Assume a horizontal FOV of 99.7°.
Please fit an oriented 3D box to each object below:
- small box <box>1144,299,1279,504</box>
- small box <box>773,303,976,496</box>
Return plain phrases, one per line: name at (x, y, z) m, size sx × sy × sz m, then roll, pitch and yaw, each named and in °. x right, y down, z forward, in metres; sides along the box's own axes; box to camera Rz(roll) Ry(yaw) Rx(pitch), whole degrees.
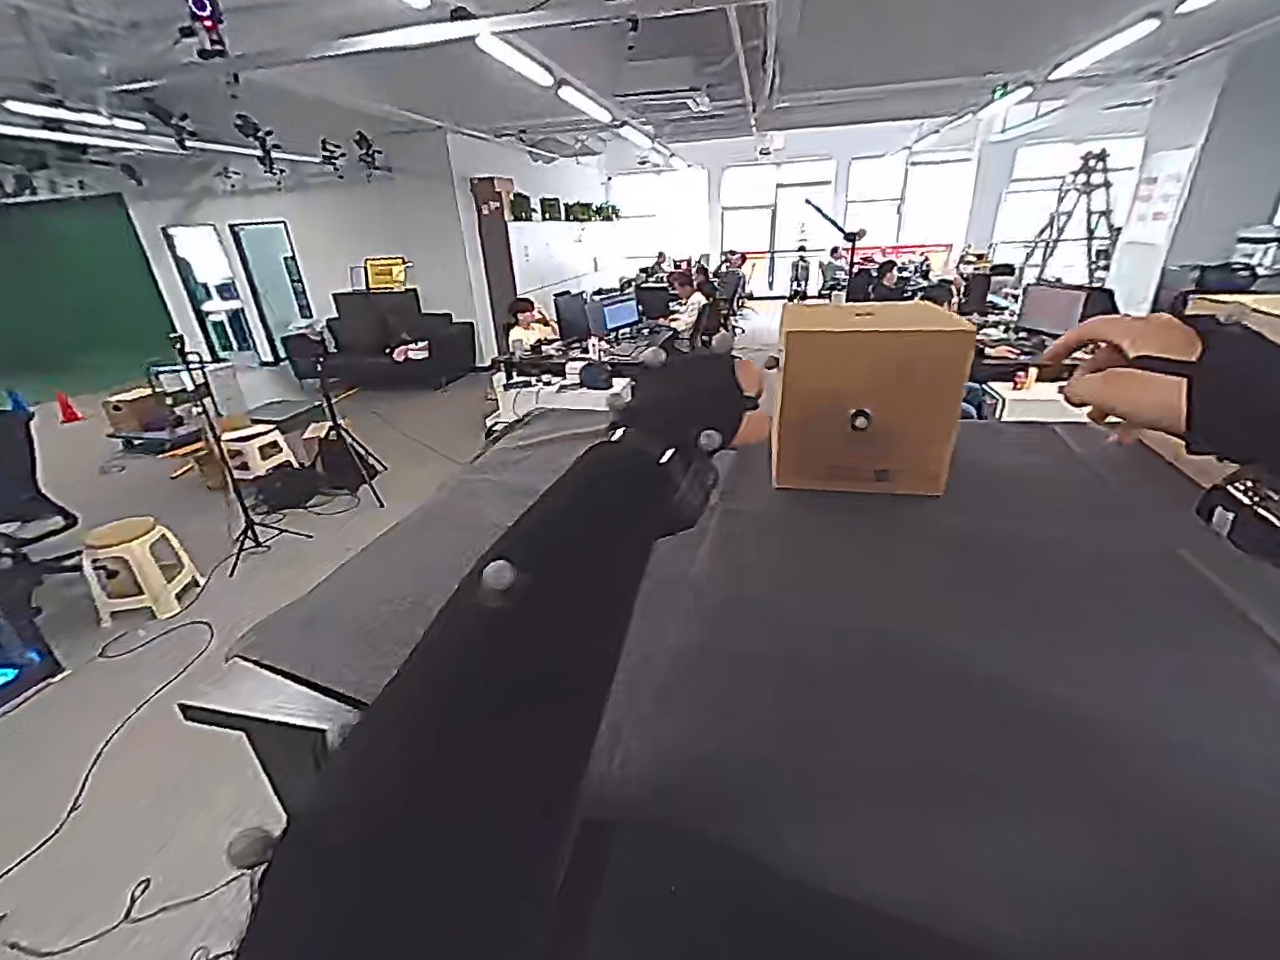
small box at (0.642, -0.074, 0.513) m, size 0.168 × 0.176 × 0.179 m, roll 6°, pitch 26°, yaw 17°
small box at (0.237, -0.093, 0.593) m, size 0.168 × 0.176 × 0.179 m, roll 3°, pitch 26°, yaw 12°
